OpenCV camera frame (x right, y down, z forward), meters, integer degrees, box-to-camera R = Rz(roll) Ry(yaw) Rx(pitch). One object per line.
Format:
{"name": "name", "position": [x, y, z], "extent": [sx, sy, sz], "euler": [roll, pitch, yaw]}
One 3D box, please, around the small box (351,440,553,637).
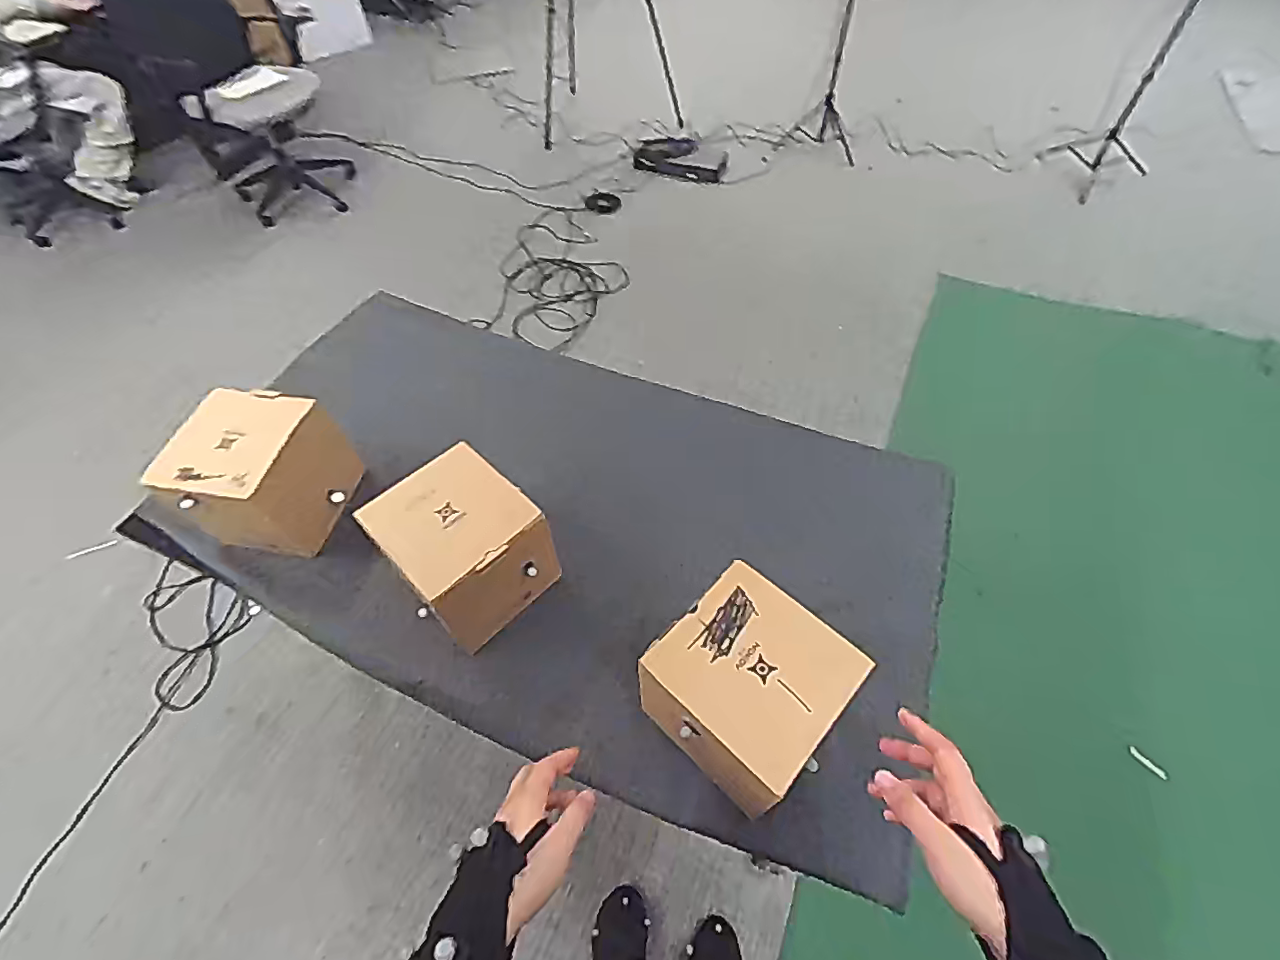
{"name": "small box", "position": [-0.238, 0.086, 0.725], "extent": [0.179, 0.176, 0.168], "euler": [36, 61, 26]}

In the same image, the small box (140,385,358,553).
{"name": "small box", "position": [-0.560, -0.015, 0.810], "extent": [0.168, 0.176, 0.179], "euler": [7, 56, 8]}

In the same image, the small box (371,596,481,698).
{"name": "small box", "position": [-0.538, 0.433, 1.389], "extent": [0.168, 0.176, 0.179], "euler": [22, 59, 17]}

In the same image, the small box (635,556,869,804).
{"name": "small box", "position": [0.112, 0.226, 0.603], "extent": [0.179, 0.176, 0.168], "euler": [37, 62, 26]}
